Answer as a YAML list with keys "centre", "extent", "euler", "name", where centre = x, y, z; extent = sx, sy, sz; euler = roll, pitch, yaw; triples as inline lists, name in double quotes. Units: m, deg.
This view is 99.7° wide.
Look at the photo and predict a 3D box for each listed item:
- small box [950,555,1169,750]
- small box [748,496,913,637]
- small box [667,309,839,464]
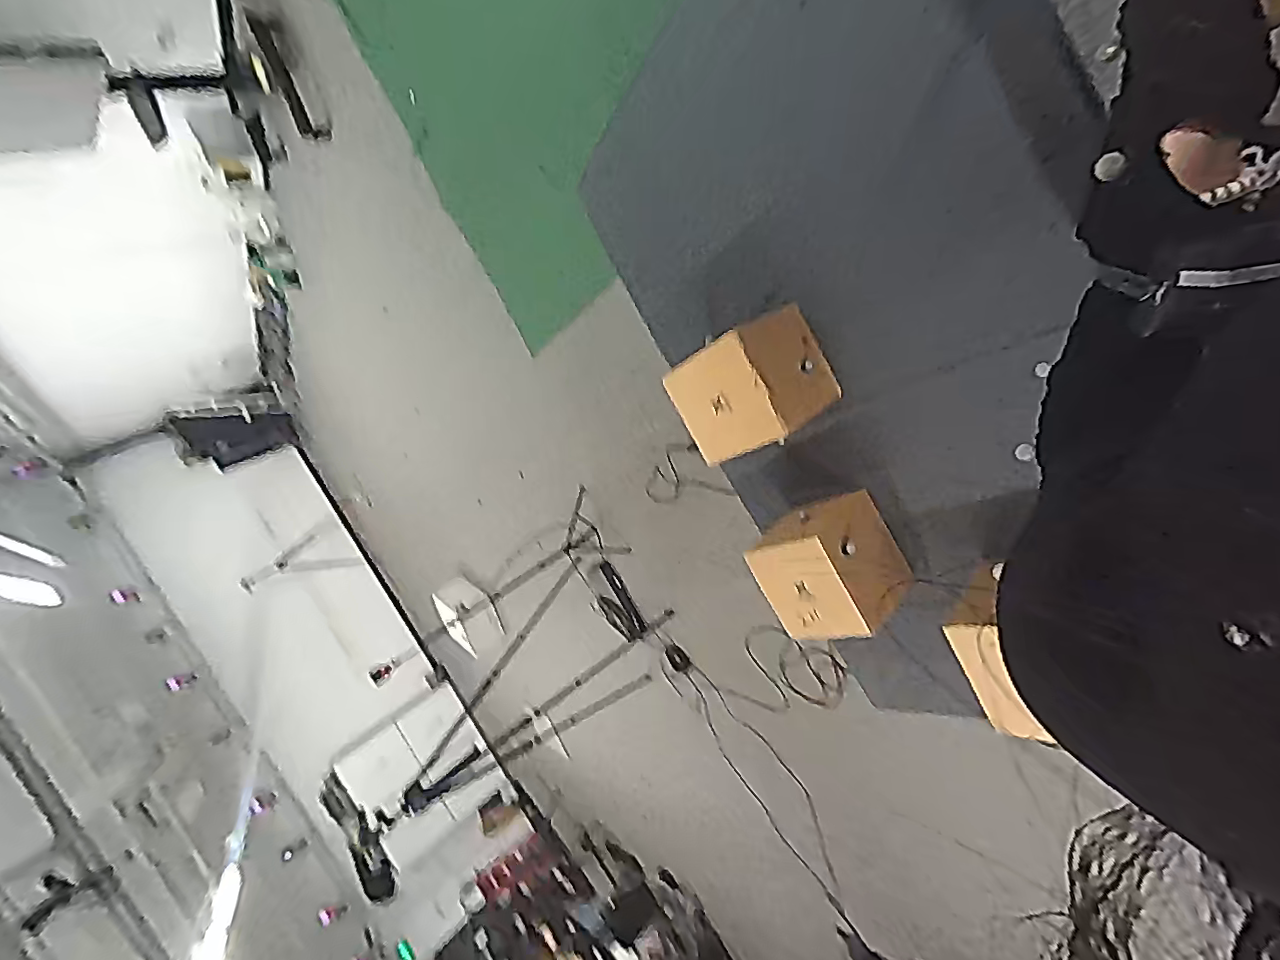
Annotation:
- centre: [0.550, 0.211, 0.709]
  extent: [0.168, 0.176, 0.179]
  euler: [-23, 98, 54]
  name: "small box"
- centre: [0.324, 0.142, 0.917]
  extent: [0.168, 0.176, 0.179]
  euler: [-27, 95, 53]
  name: "small box"
- centre: [0.183, -0.150, 0.873]
  extent: [0.179, 0.176, 0.168]
  euler: [-25, 96, 53]
  name: "small box"
